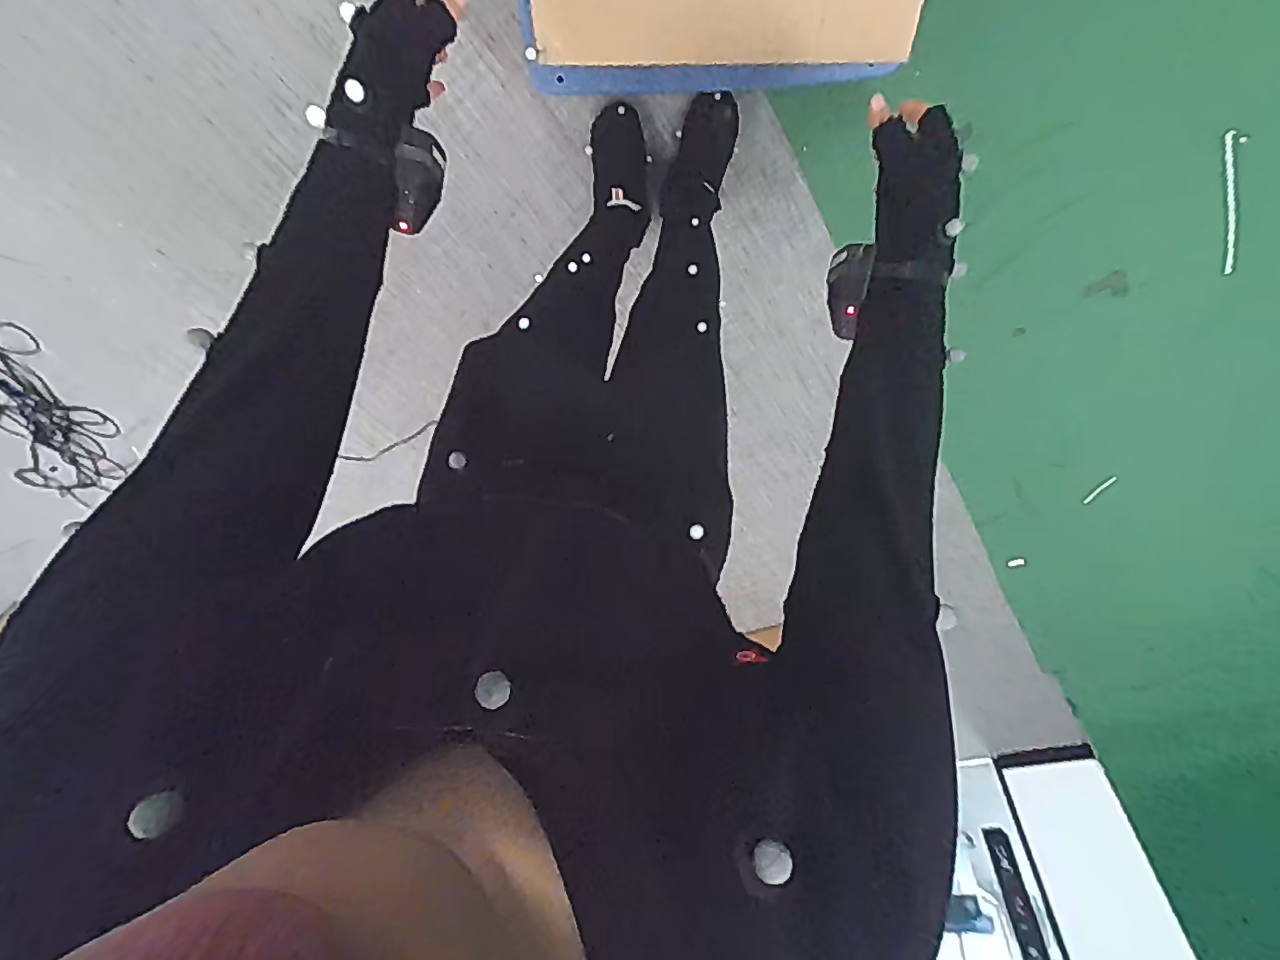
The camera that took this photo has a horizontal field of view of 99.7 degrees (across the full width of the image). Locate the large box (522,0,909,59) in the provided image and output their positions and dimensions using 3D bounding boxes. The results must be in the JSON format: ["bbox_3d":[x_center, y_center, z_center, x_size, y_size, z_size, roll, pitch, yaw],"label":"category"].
[{"bbox_3d":[0.085,-0.676,0.581,0.408,0.320,0.320,3,135,4],"label":"large box"}]
